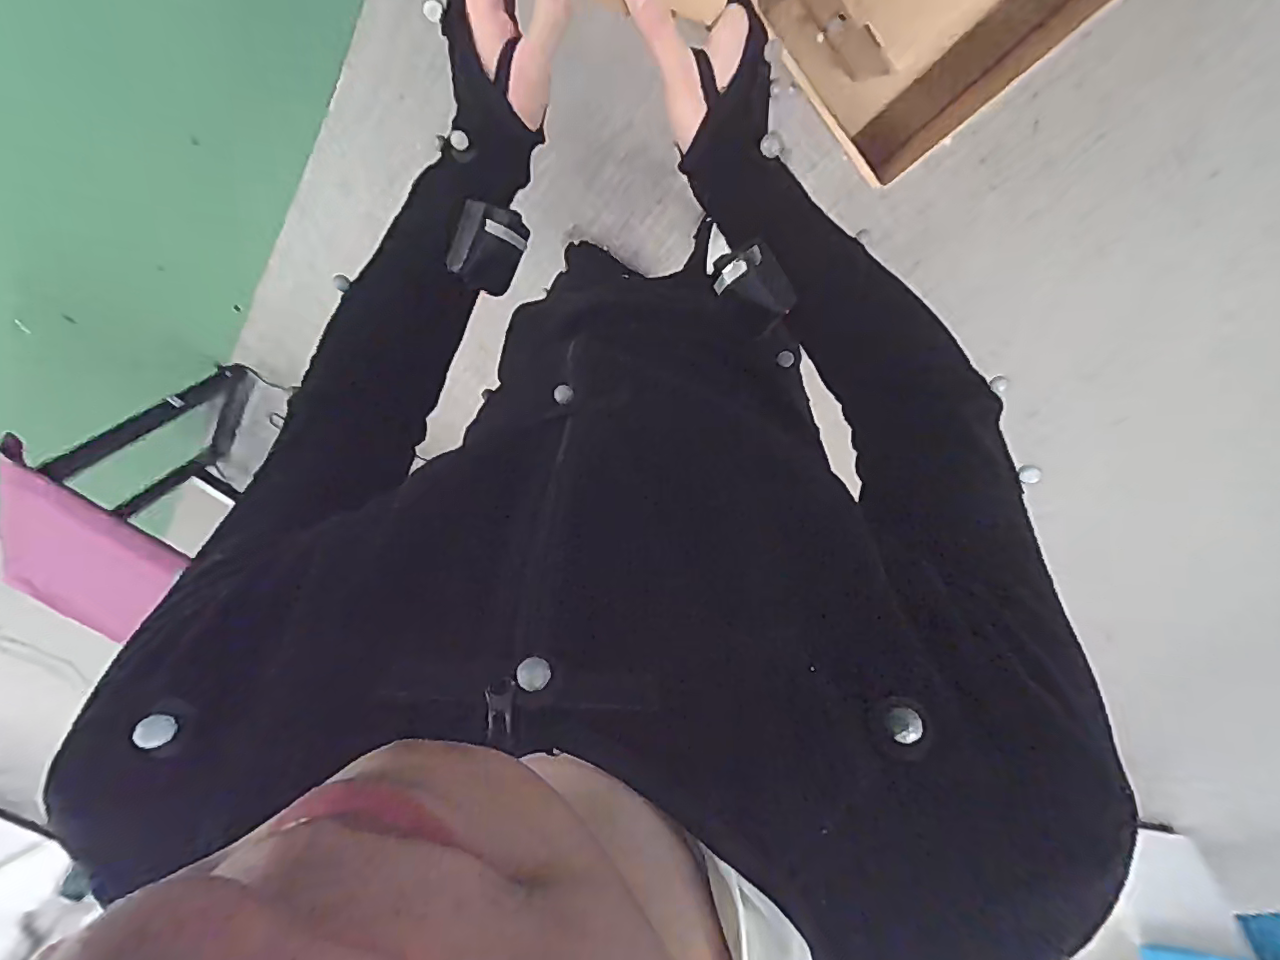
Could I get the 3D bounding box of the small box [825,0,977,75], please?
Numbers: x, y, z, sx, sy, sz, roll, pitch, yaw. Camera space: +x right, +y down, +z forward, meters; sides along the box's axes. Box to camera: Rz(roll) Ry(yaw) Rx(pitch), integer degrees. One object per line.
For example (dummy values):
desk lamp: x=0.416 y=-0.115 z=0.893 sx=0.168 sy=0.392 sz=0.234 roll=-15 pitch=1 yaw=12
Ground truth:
small box: x=0.288 y=-0.564 z=0.564 sx=0.179 sy=0.176 sz=0.168 roll=-35 pitch=111 yaw=32

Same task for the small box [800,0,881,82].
small box: x=0.320 y=-0.657 z=0.695 sx=0.179 sy=0.176 sz=0.168 roll=-35 pitch=110 yaw=31
